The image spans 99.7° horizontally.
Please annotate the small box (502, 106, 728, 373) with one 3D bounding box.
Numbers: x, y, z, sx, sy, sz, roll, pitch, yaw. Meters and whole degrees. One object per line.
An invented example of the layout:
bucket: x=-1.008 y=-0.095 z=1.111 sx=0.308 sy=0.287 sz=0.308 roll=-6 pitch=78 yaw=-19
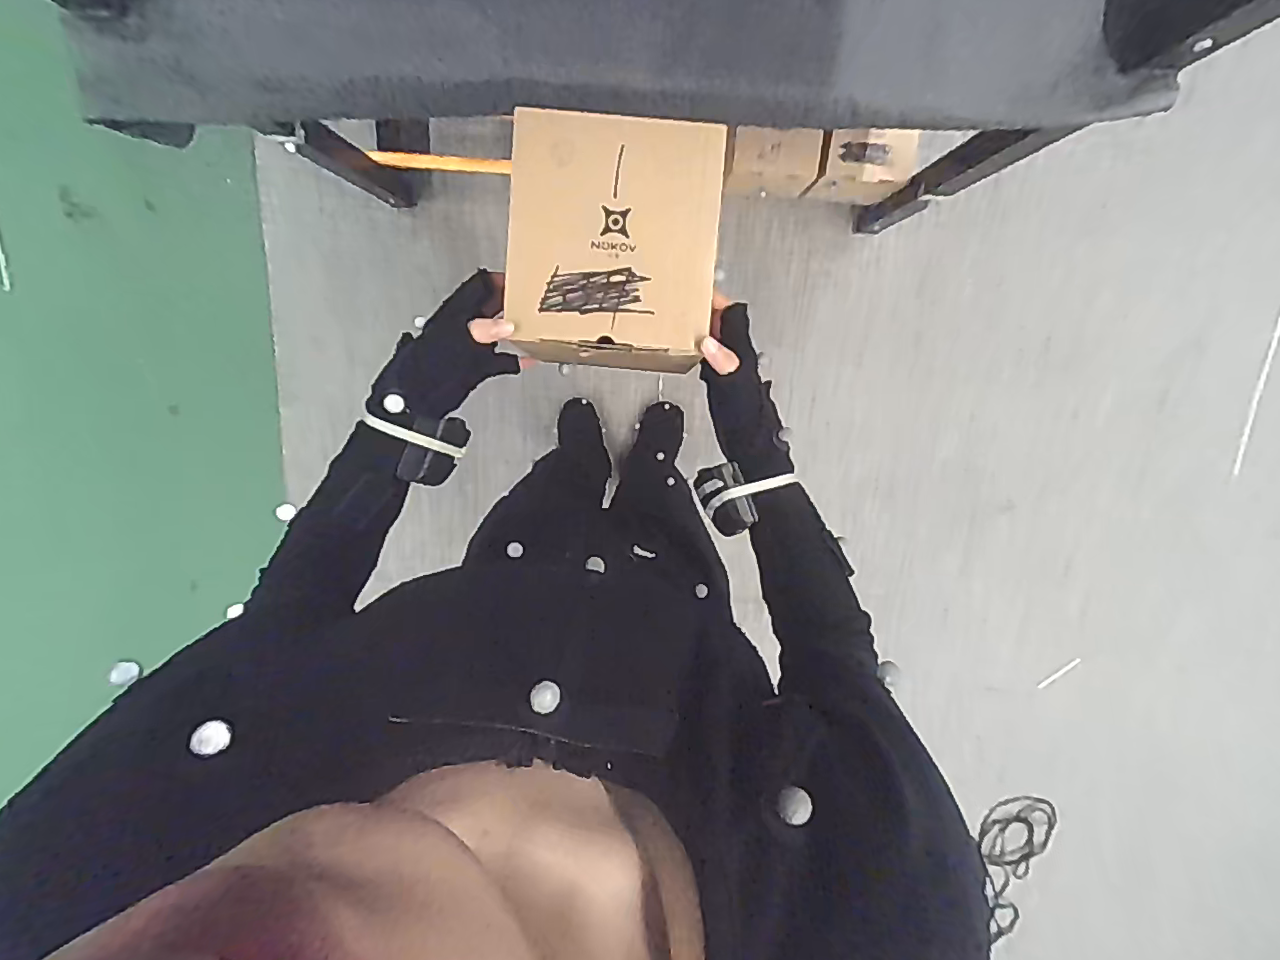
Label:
small box: x=-0.020 y=-0.199 z=0.499 sx=0.168 sy=0.176 sz=0.179 roll=5 pitch=94 yaw=-1
